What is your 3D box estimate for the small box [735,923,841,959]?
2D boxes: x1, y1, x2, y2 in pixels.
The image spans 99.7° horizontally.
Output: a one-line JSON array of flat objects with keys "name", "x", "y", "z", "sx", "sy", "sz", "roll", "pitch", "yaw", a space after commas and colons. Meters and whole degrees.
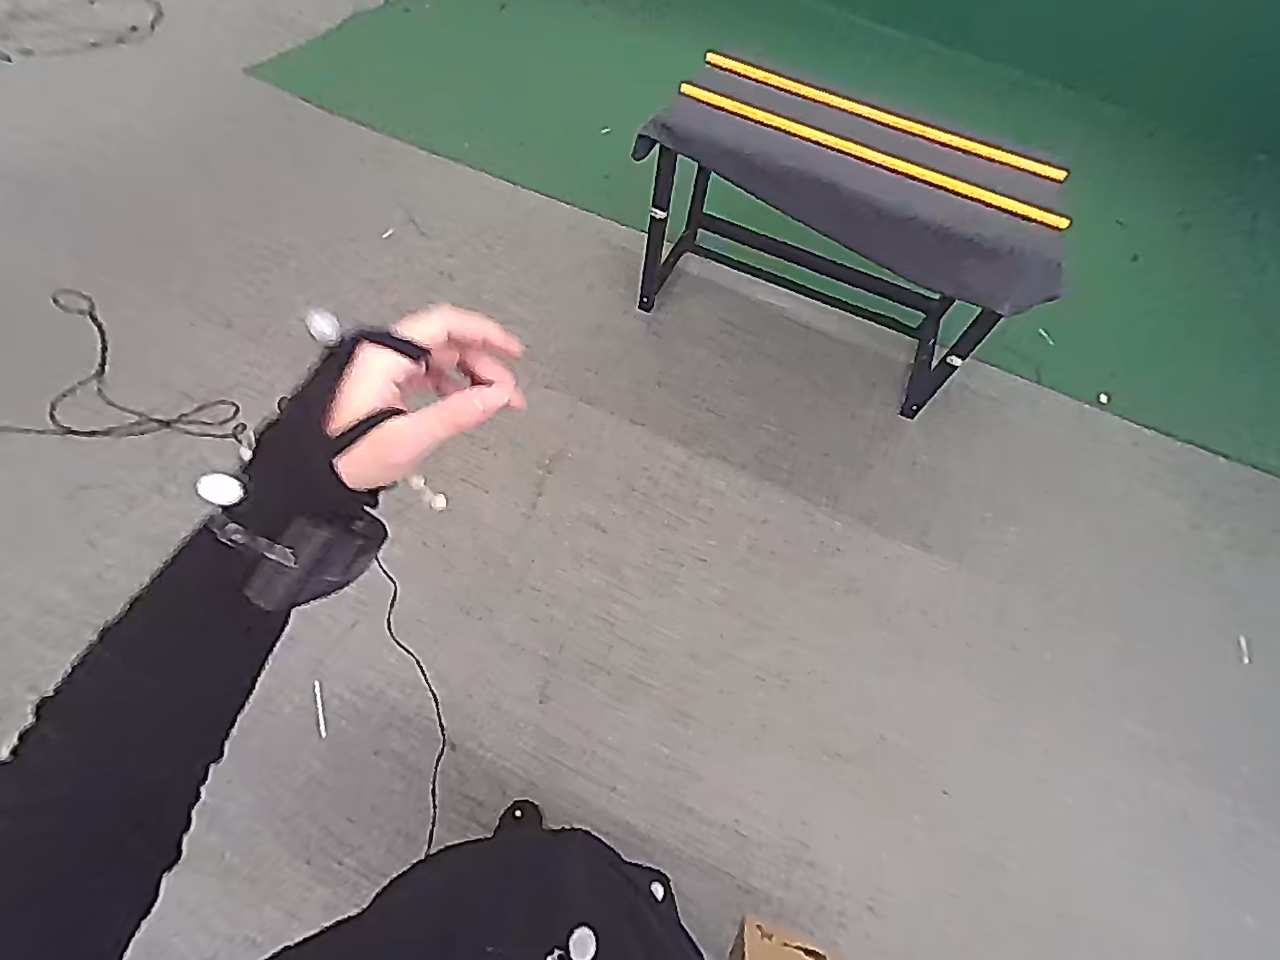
[{"name": "small box", "x": 0.193, "y": 0.731, "z": 0.677, "sx": 0.168, "sy": 0.179, "sz": 0.176, "roll": 16, "pitch": 93, "yaw": 8}]
